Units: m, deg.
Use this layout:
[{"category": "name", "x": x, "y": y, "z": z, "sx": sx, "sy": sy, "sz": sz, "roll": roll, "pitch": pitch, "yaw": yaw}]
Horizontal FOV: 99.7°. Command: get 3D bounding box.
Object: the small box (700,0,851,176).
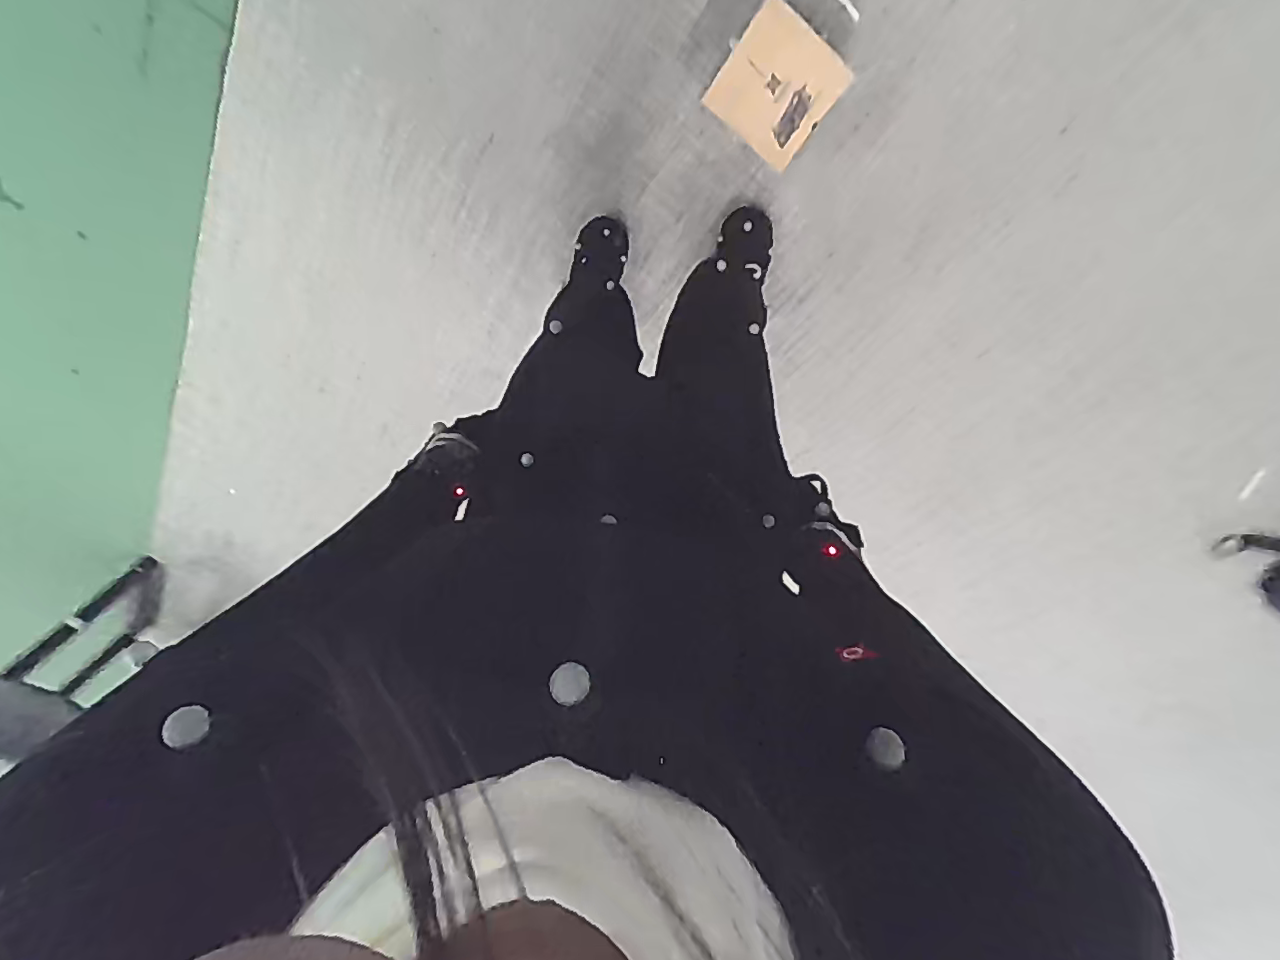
[{"category": "small box", "x": 0.226, "y": -0.655, "z": 0.915, "sx": 0.179, "sy": 0.176, "sz": 0.168, "roll": 36, "pitch": 124, "yaw": -13}]
